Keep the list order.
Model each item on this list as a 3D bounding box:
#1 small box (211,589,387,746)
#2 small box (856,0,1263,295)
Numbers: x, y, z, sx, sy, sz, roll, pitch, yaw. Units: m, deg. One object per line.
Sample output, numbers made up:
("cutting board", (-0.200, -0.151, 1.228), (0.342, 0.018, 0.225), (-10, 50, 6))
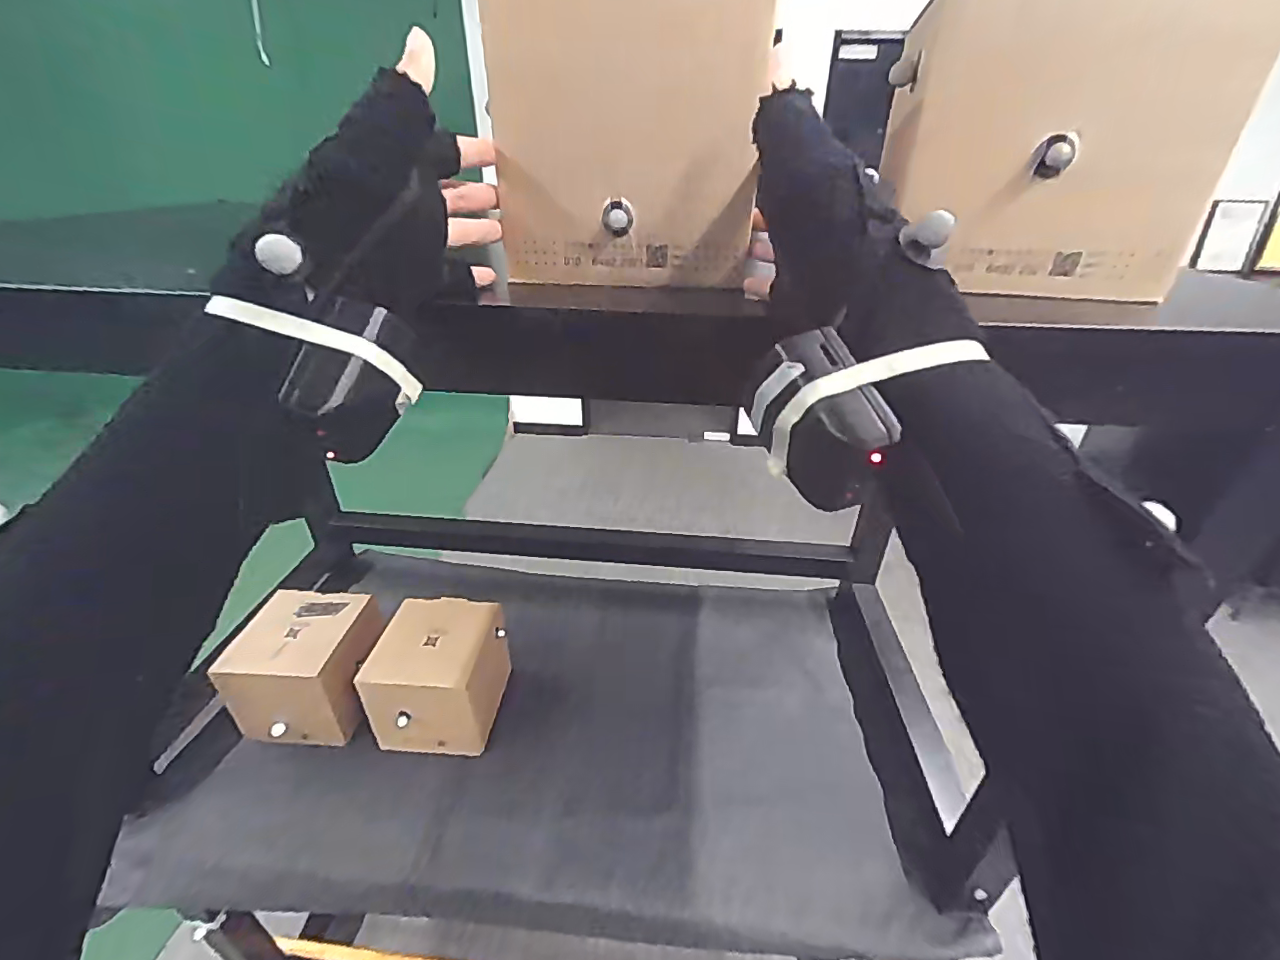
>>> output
("small box", (-0.542, 0.306, 0.894), (0.168, 0.176, 0.179), (2, 31, 2))
("small box", (0.258, -0.235, 0.383), (0.168, 0.176, 0.179), (9, 31, 13))
